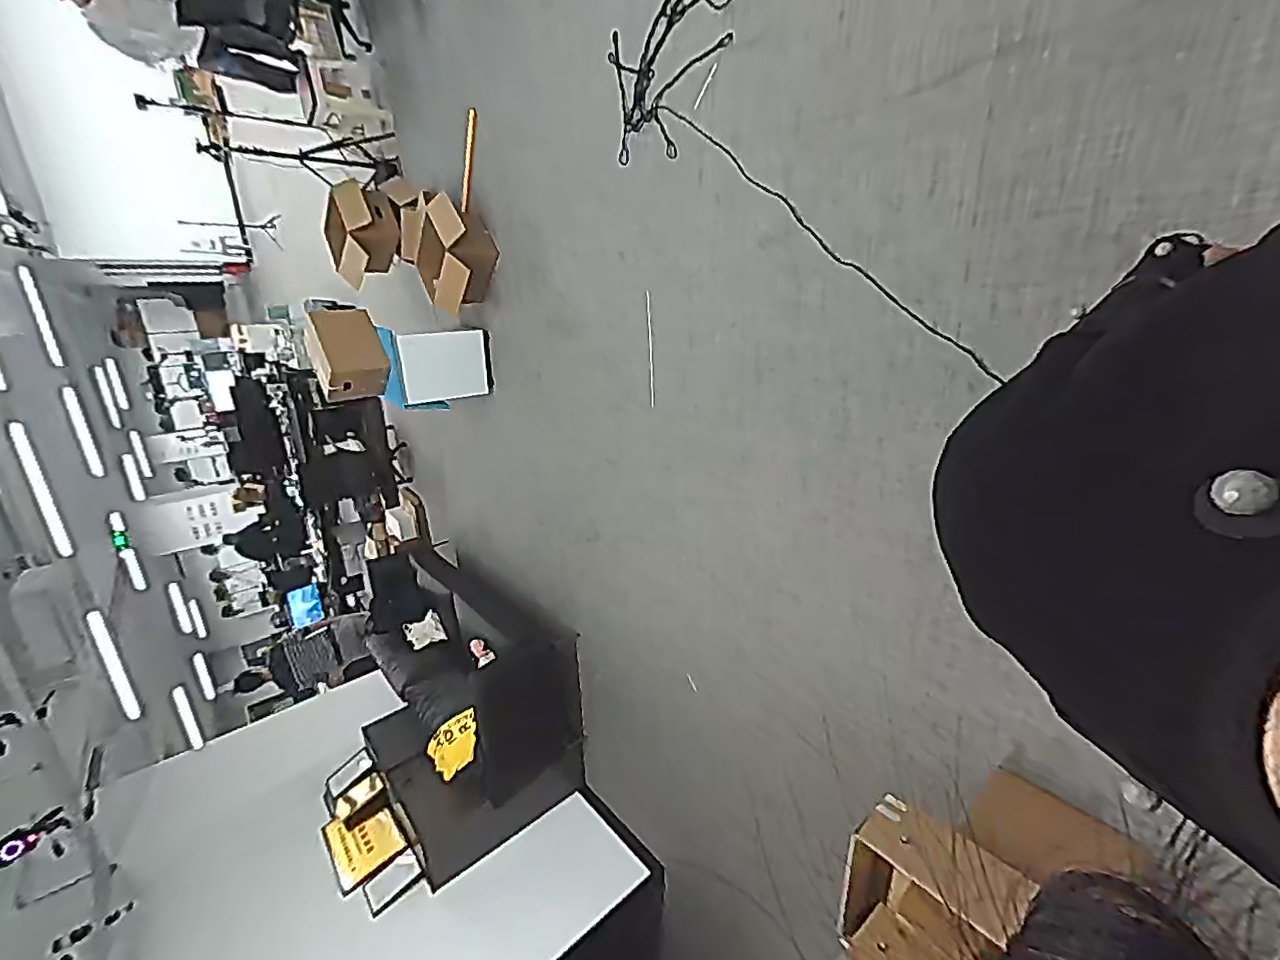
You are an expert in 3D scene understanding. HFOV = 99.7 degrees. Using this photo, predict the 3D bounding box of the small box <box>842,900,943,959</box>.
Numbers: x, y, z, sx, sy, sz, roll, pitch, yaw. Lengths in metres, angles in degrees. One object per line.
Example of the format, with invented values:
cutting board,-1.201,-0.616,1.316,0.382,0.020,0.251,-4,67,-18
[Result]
small box,0.546,1.087,1.186,0.168,0.176,0.179,28,124,44
